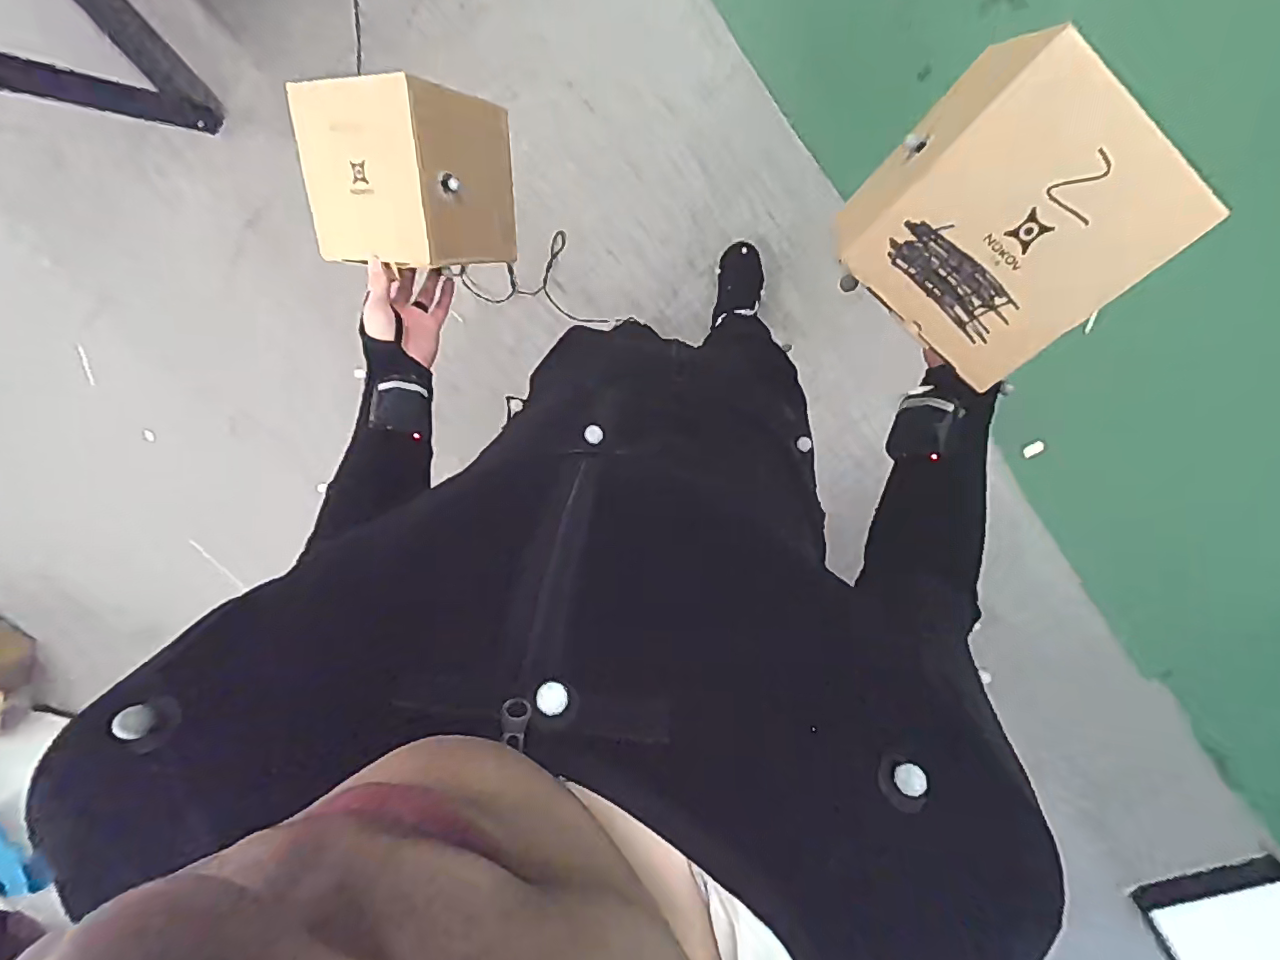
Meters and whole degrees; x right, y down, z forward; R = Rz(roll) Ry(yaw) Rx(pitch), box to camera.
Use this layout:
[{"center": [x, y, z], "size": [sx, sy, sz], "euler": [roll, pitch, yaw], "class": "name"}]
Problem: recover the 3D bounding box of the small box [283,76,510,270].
[{"center": [-0.271, -0.353, 0.644], "size": [0.168, 0.176, 0.179], "euler": [11, 117, 19], "class": "small box"}]
